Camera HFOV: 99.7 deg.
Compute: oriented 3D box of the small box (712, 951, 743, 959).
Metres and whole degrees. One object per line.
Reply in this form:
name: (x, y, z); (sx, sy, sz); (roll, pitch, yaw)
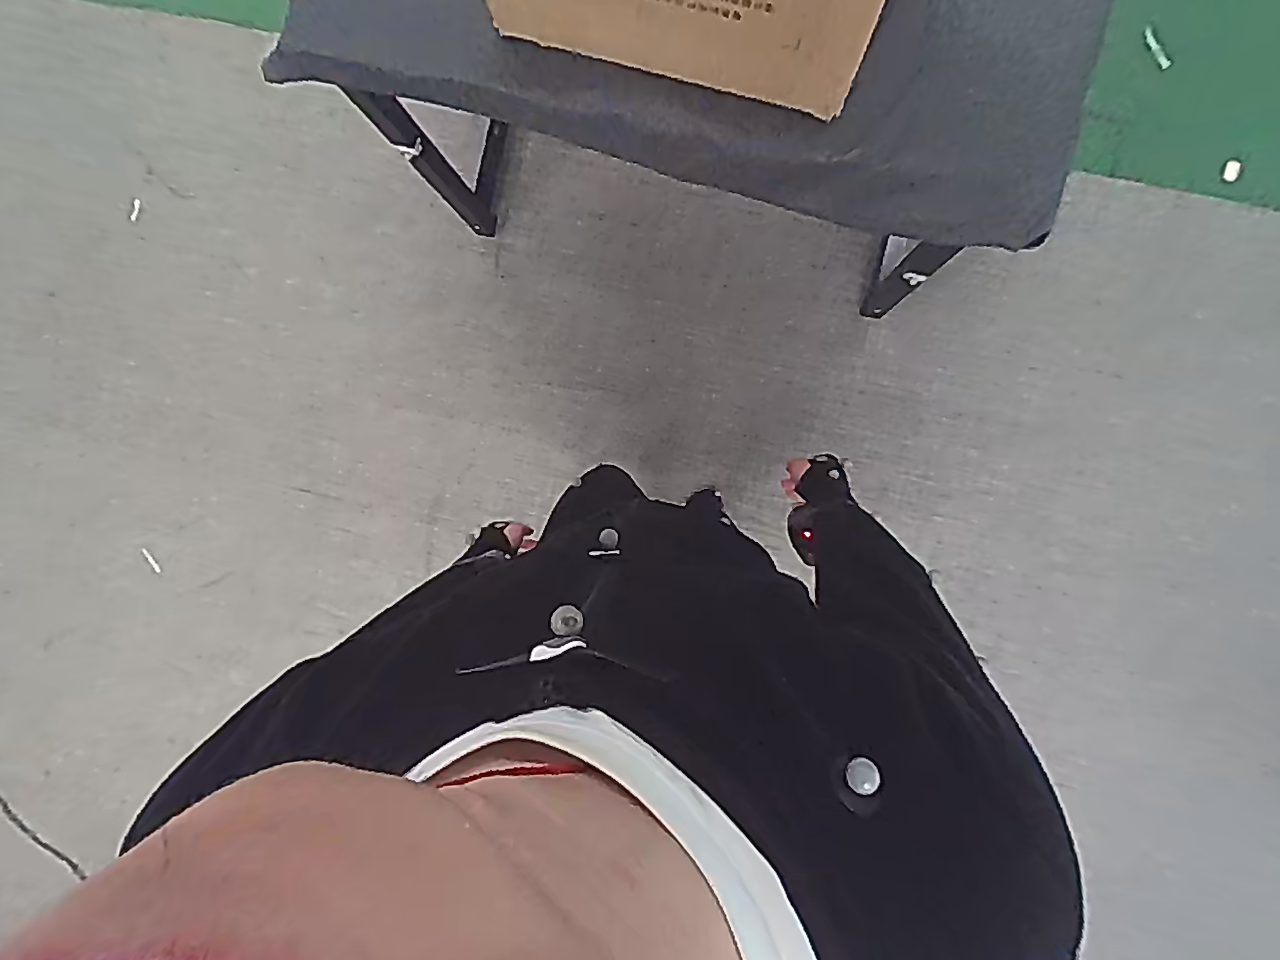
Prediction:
small box: (0.265, 1.446, 1.467); (0.179, 0.176, 0.168); (20, 94, 5)
